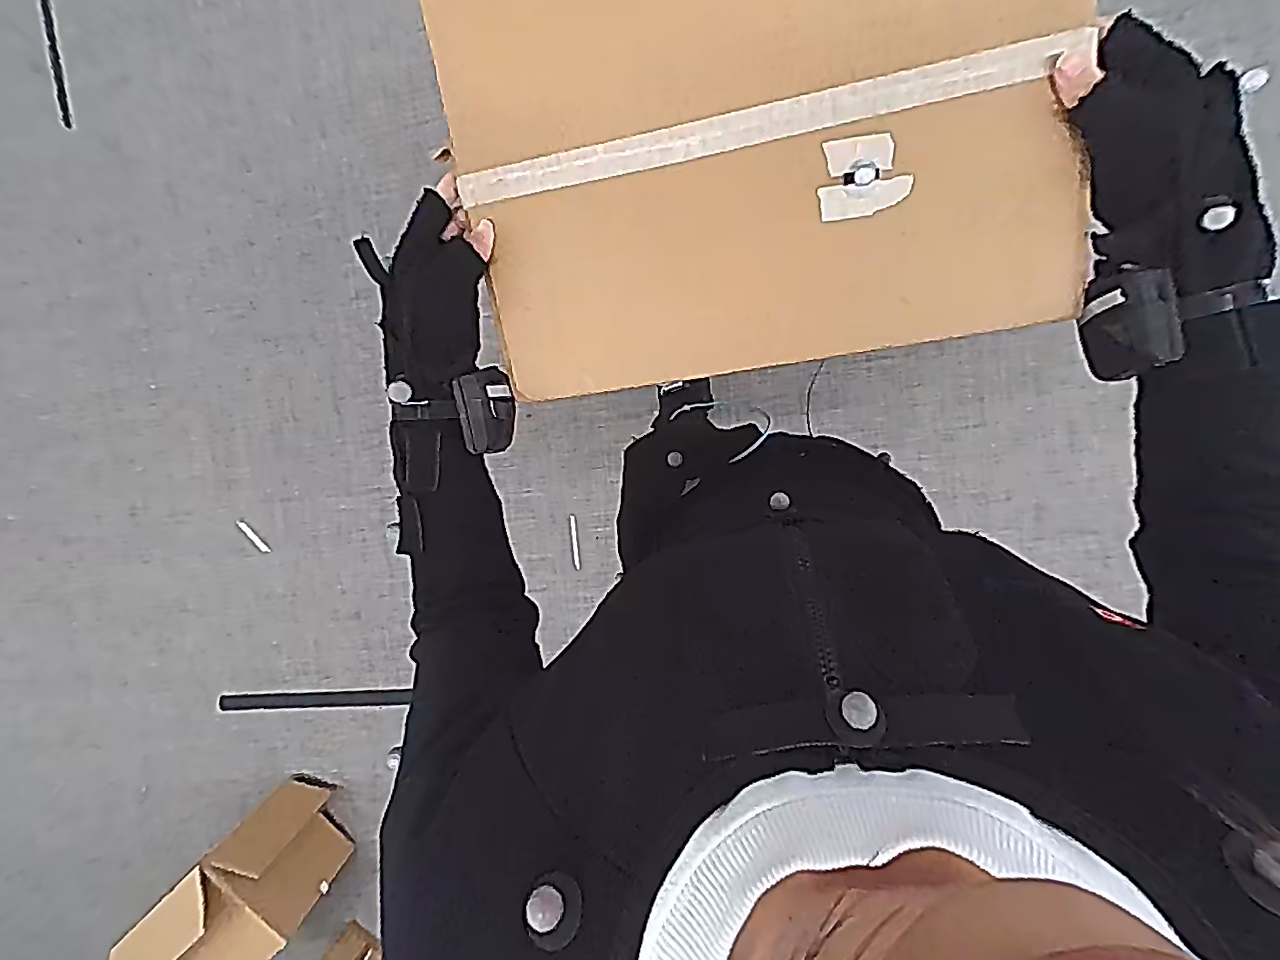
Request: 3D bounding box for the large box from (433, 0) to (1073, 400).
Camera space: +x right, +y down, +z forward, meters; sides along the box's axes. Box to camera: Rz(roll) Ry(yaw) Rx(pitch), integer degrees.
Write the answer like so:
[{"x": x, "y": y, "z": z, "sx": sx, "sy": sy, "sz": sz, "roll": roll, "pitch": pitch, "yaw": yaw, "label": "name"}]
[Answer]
[{"x": 0.090, "y": -0.279, "z": 0.512, "sx": 0.408, "sy": 0.320, "sz": 0.320, "roll": -8, "pitch": 106, "yaw": 9, "label": "large box"}]
